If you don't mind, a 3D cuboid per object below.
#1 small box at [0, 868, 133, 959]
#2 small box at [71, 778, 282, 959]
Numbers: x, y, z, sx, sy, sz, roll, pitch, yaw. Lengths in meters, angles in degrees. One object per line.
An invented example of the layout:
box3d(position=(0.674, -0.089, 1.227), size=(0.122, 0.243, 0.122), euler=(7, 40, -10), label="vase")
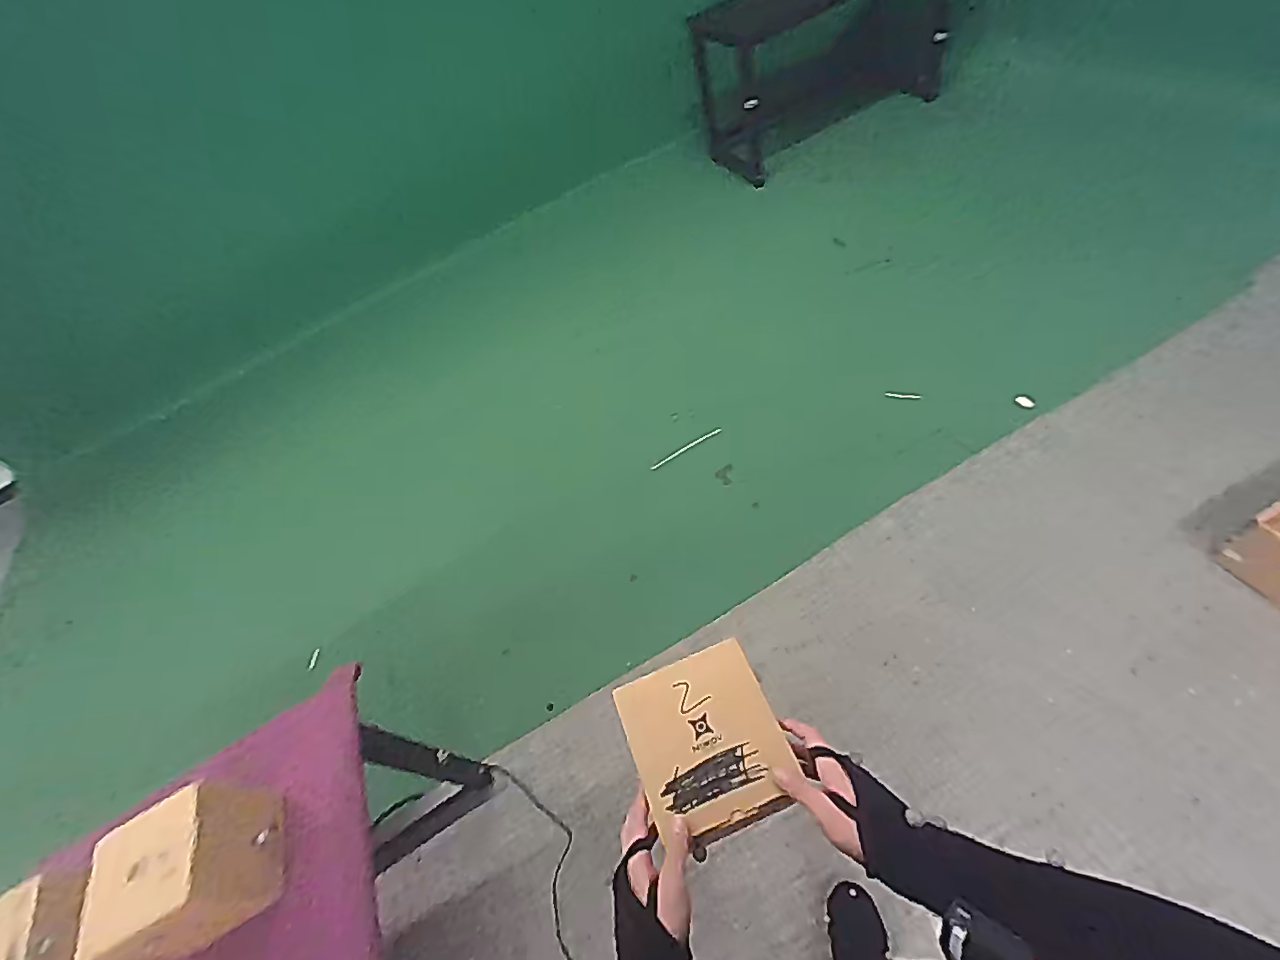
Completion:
box3d(position=(-0.929, 0.733, 0.828), size=(0.179, 0.176, 0.168), euler=(-31, 52, -5), label="small box")
box3d(position=(-0.703, 0.601, 0.844), size=(0.179, 0.176, 0.168), euler=(-30, 52, -3), label="small box")
